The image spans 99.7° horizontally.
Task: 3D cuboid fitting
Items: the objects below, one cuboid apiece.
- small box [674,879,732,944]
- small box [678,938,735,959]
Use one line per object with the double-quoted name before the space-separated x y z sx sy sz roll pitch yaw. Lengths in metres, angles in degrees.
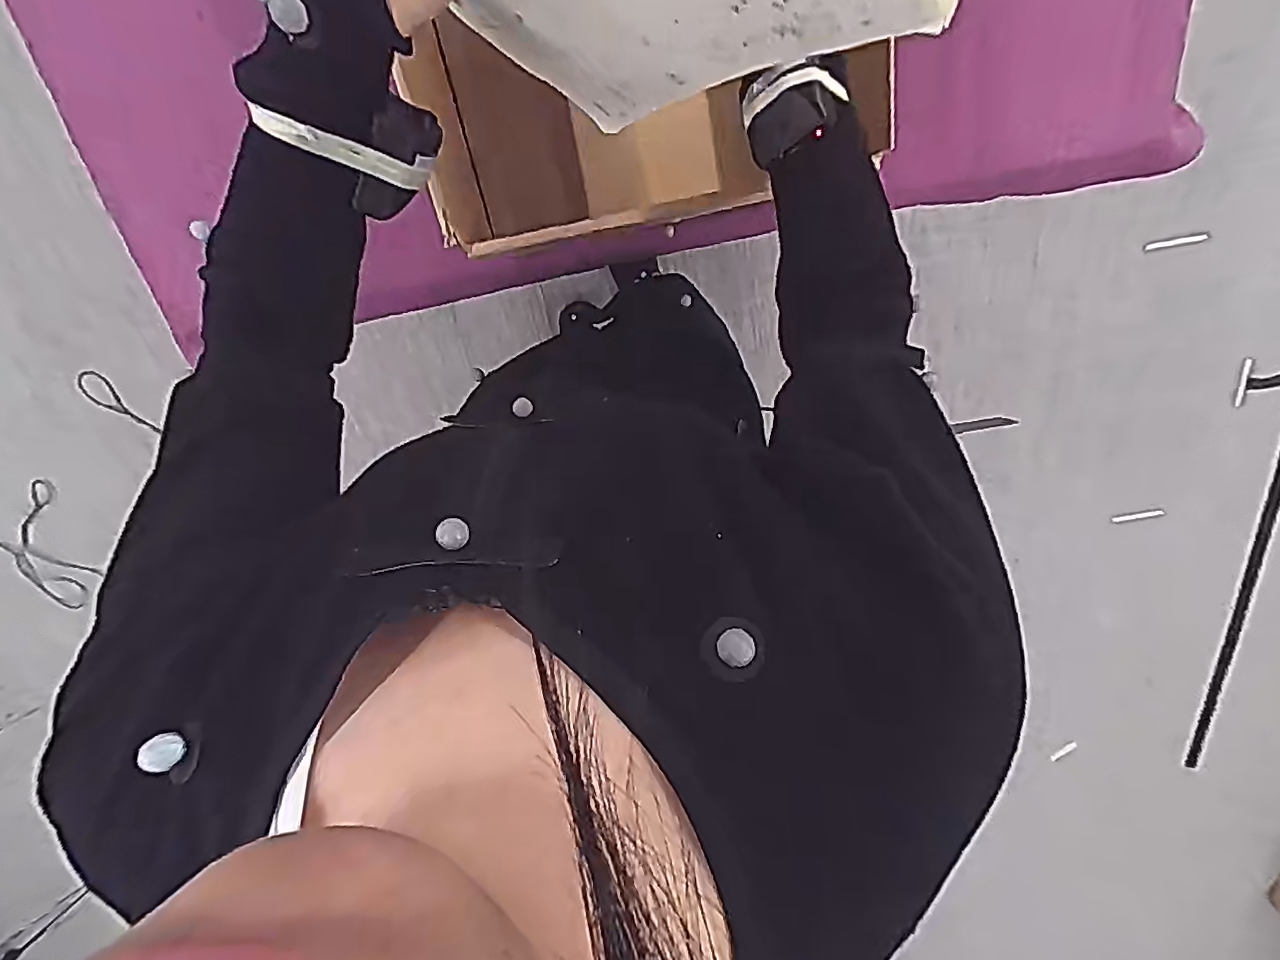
"small box" 0.202 1.430 1.753 0.168 0.176 0.179 -5 113 0
"small box" 0.208 1.502 1.605 0.168 0.176 0.179 -8 112 1
